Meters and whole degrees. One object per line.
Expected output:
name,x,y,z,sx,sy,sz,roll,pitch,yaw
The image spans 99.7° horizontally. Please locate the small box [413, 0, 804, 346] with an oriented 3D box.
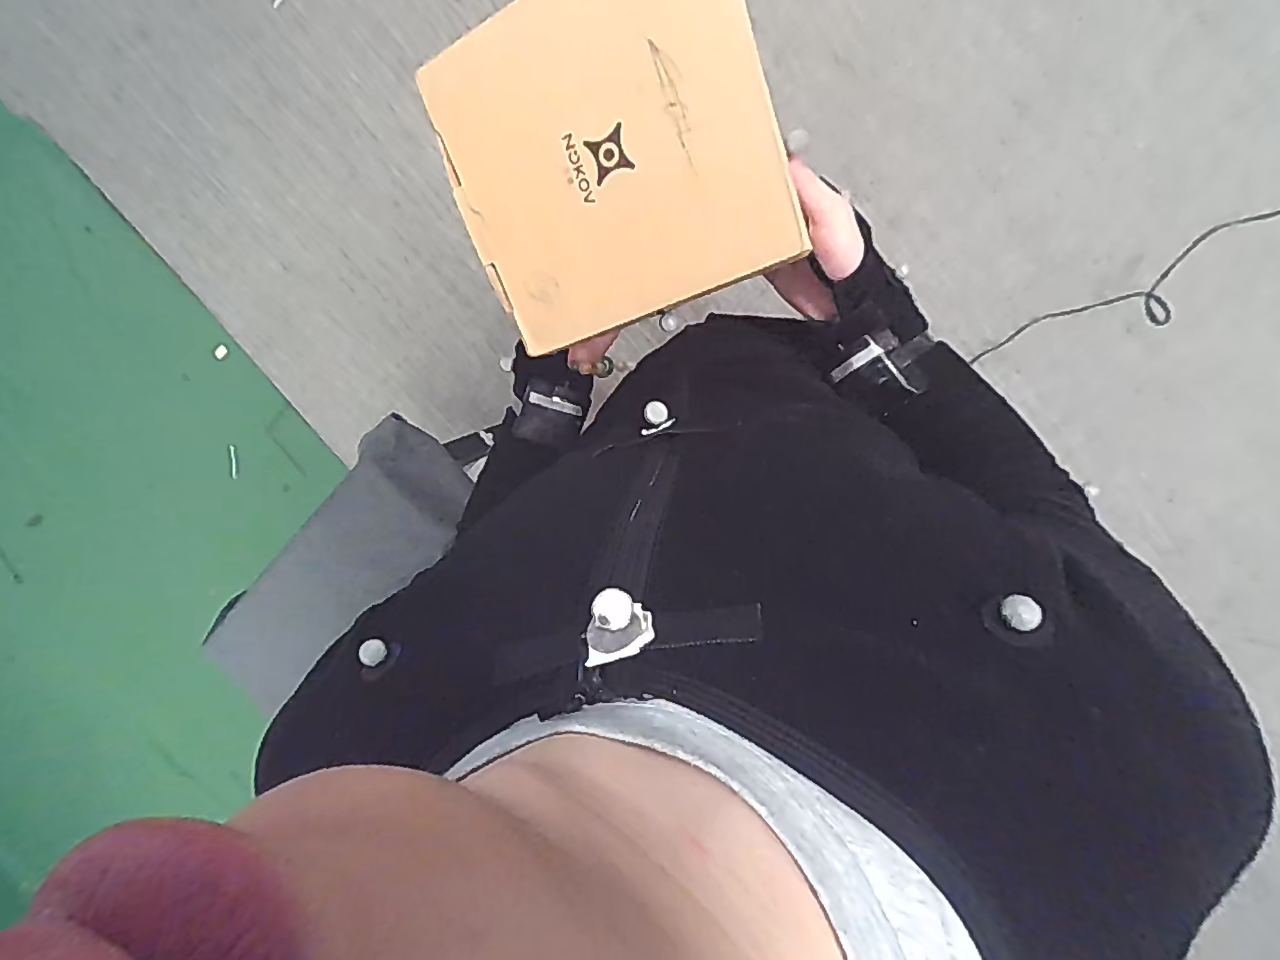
small box,0.001,-0.202,0.354,0.179,0.176,0.168,-15,107,22
